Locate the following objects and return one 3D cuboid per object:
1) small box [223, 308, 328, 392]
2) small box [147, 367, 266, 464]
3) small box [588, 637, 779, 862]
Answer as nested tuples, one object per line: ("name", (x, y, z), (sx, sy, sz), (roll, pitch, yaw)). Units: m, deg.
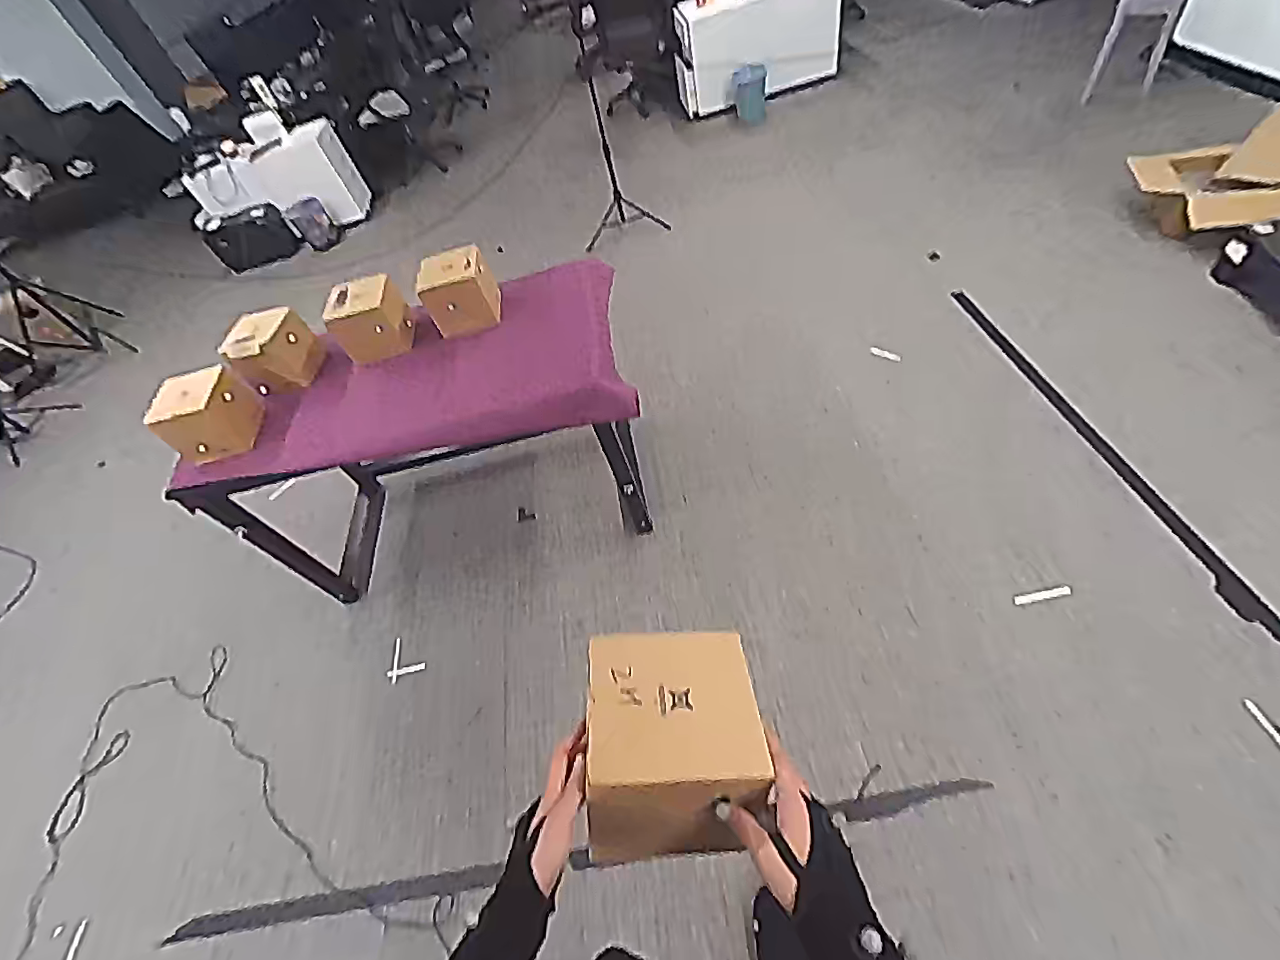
("small box", (-1.070, -0.378, 1.606), (0.168, 0.176, 0.179), (-9, 52, 8))
("small box", (-1.163, -0.174, 1.470), (0.168, 0.176, 0.179), (-15, 51, 1))
("small box", (0.034, 0.293, 0.594), (0.179, 0.176, 0.168), (-1, 36, -3))
